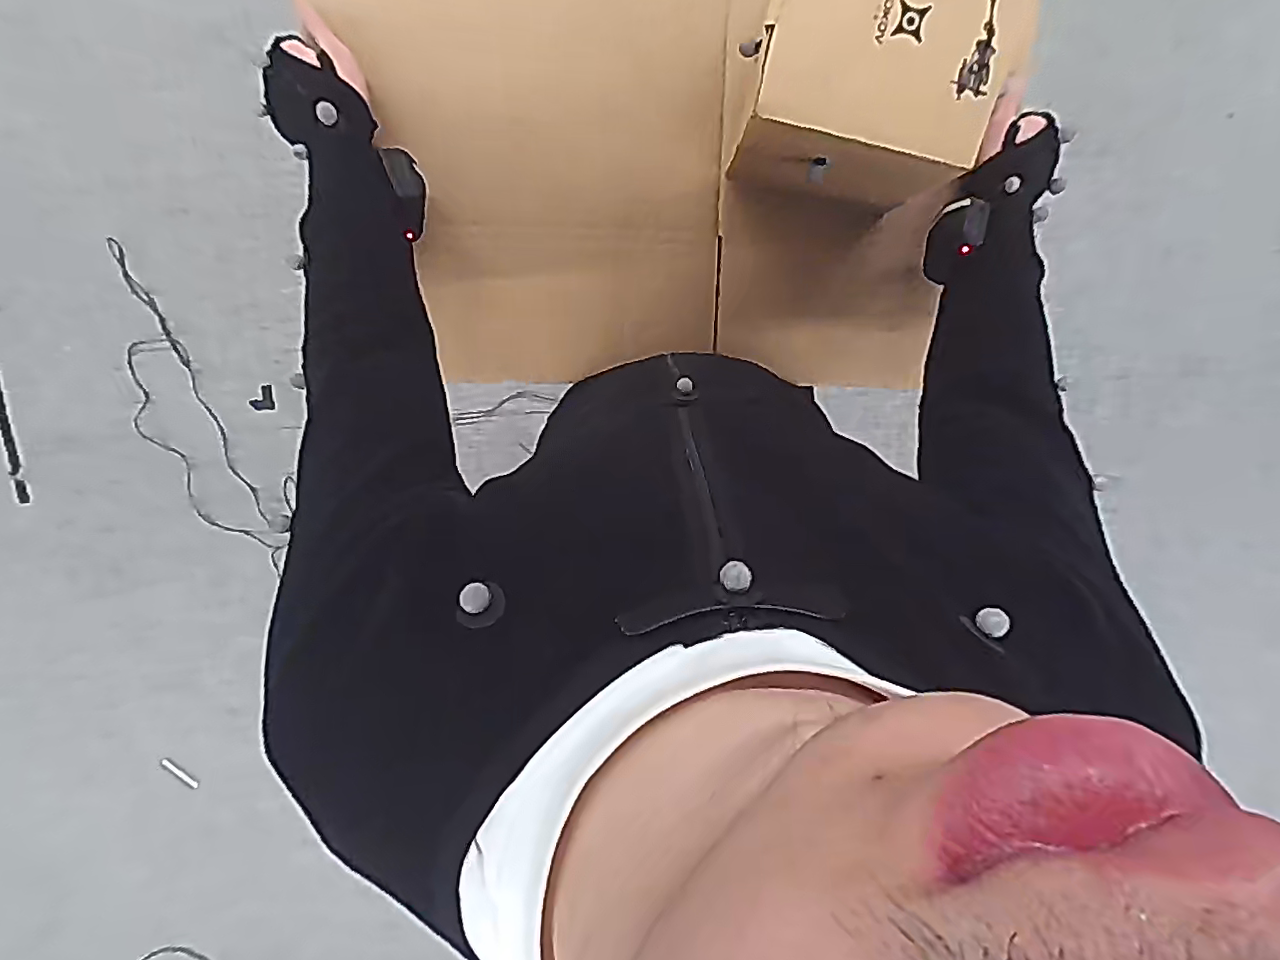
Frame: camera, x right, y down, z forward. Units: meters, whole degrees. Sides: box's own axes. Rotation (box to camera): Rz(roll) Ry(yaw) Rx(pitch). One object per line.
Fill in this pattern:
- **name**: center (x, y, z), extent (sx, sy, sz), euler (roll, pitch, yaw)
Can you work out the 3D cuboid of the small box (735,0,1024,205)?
- **small box**: center (0.191, -0.359, 0.472), extent (0.179, 0.176, 0.168), euler (13, 106, 0)
